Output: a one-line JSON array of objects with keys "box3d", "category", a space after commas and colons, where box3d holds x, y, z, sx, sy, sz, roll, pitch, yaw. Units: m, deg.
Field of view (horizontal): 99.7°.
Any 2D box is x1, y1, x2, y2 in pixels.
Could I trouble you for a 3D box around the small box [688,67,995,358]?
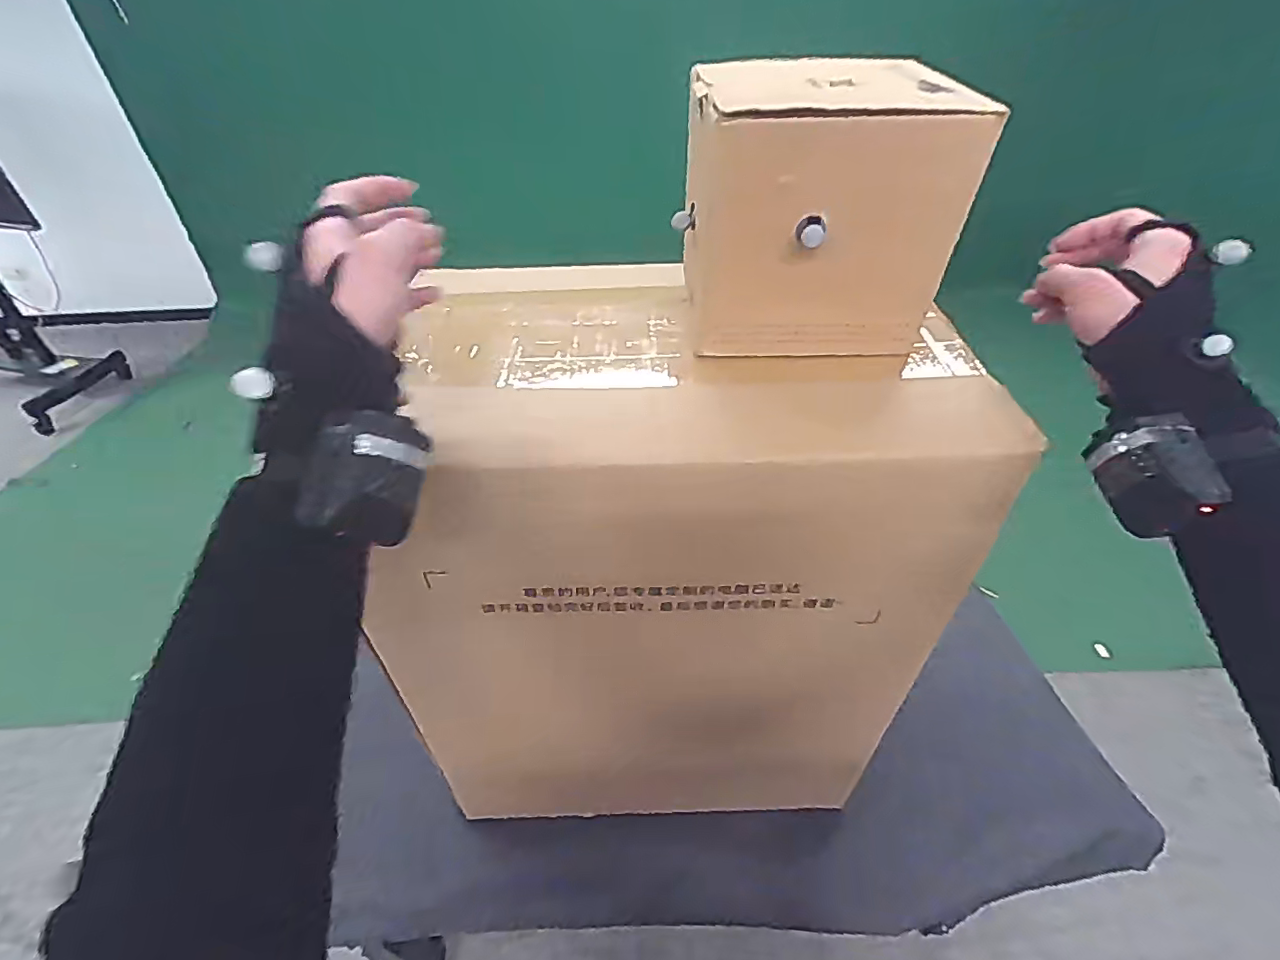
[{"box3d": [0.129, -0.211, 0.434, 0.179, 0.176, 0.168, -1, 46, 1], "category": "small box"}]
